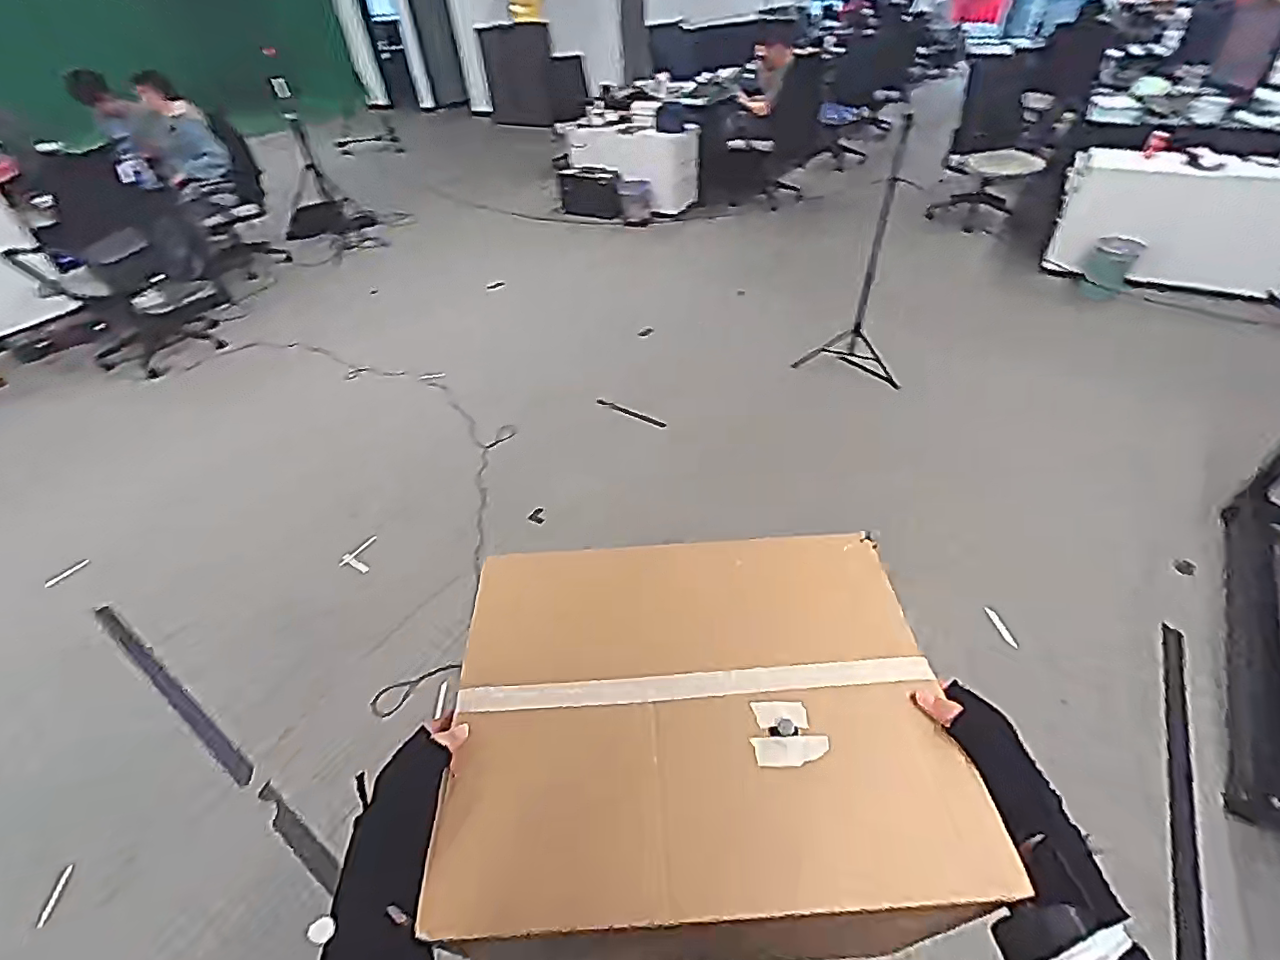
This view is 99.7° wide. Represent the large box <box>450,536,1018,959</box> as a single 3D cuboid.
[{"bbox_3d":[0.062,0.285,0.578,0.408,0.320,0.320,-3,45,0],"label":"large box"}]
